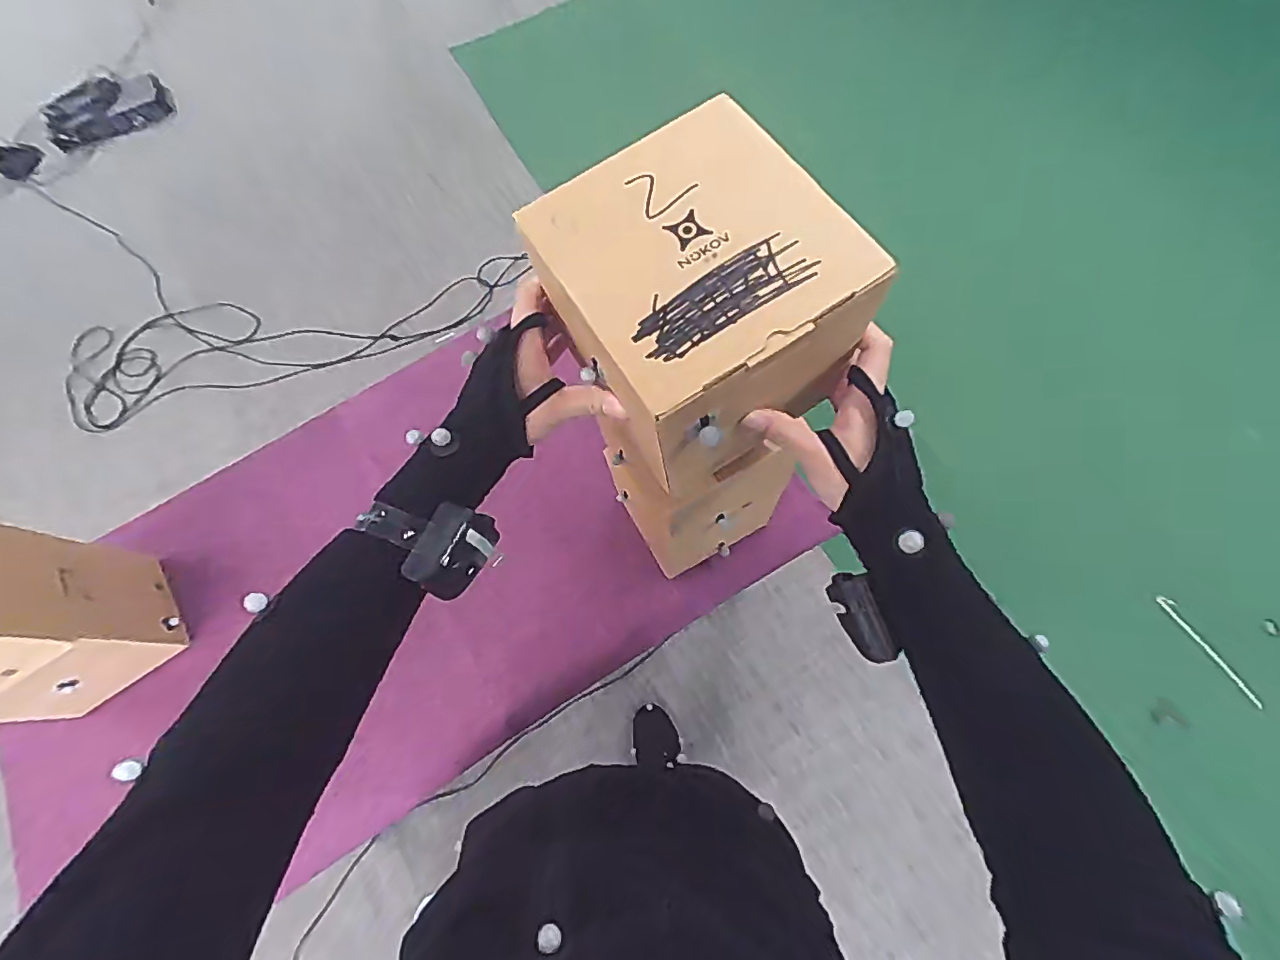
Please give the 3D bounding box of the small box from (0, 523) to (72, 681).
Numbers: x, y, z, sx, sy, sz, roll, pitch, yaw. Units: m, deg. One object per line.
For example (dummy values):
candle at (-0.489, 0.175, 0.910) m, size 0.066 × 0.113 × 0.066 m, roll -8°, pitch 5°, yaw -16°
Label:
small box at (-0.802, 0.146, 0.601) m, size 0.168 × 0.176 × 0.179 m, roll -34°, pitch 71°, yaw -9°

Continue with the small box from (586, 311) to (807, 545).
small box at (0.059, -0.049, 0.618) m, size 0.168 × 0.176 × 0.179 m, roll -29°, pitch 70°, yaw -5°

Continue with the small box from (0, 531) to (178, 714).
small box at (-0.800, 0.201, 0.753) m, size 0.179 × 0.176 × 0.168 m, roll -35°, pitch 72°, yaw -9°

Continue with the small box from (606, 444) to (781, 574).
small box at (0.070, 0.012, 0.769) m, size 0.179 × 0.176 × 0.168 m, roll -28°, pitch 69°, yaw -7°
